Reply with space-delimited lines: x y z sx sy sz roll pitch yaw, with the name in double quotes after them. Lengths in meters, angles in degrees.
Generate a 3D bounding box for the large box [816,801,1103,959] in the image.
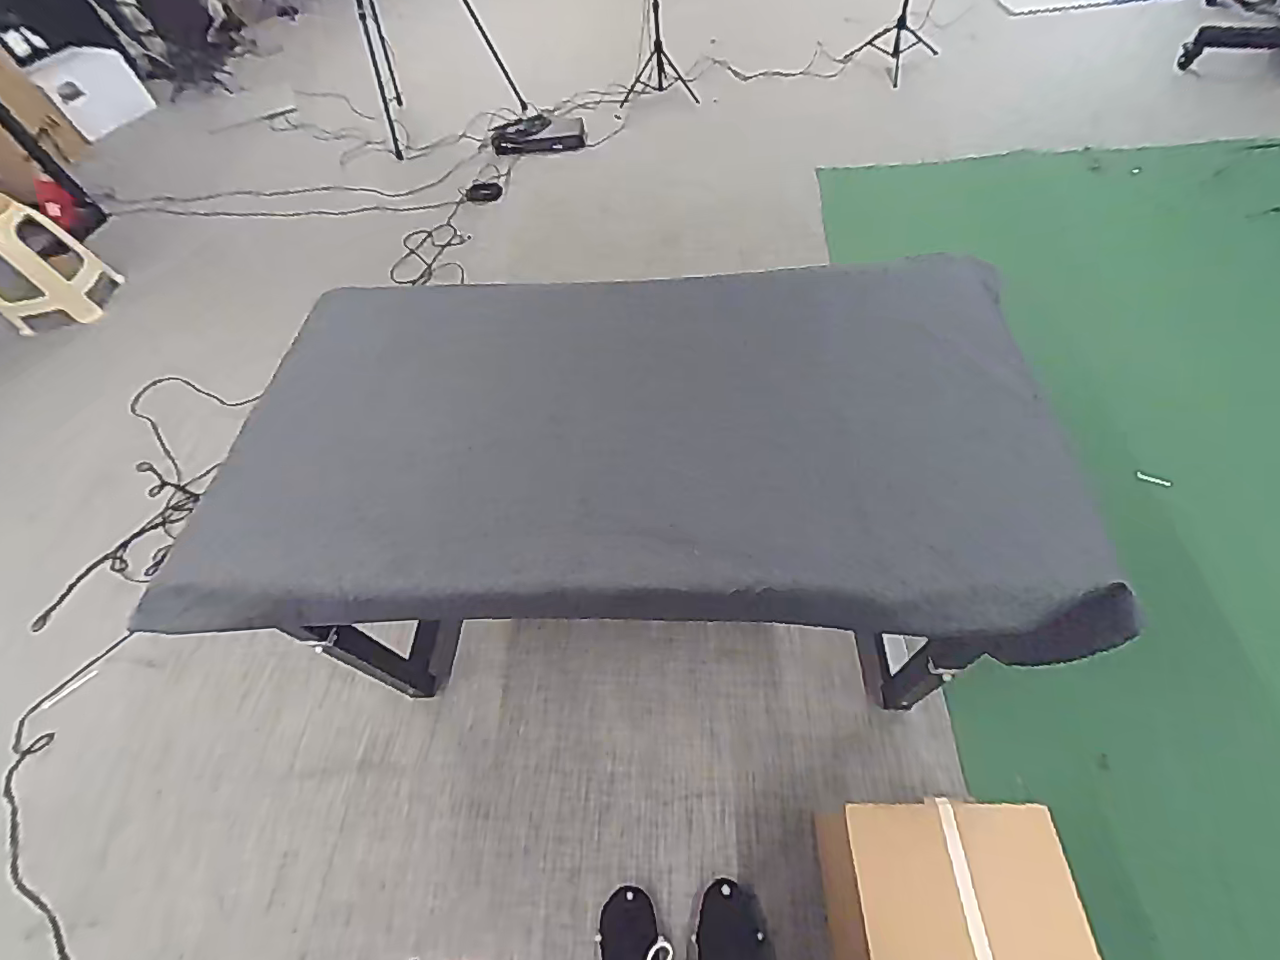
0.499 0.760 0.871 0.320 0.320 0.408 -3 55 5 "large box"
